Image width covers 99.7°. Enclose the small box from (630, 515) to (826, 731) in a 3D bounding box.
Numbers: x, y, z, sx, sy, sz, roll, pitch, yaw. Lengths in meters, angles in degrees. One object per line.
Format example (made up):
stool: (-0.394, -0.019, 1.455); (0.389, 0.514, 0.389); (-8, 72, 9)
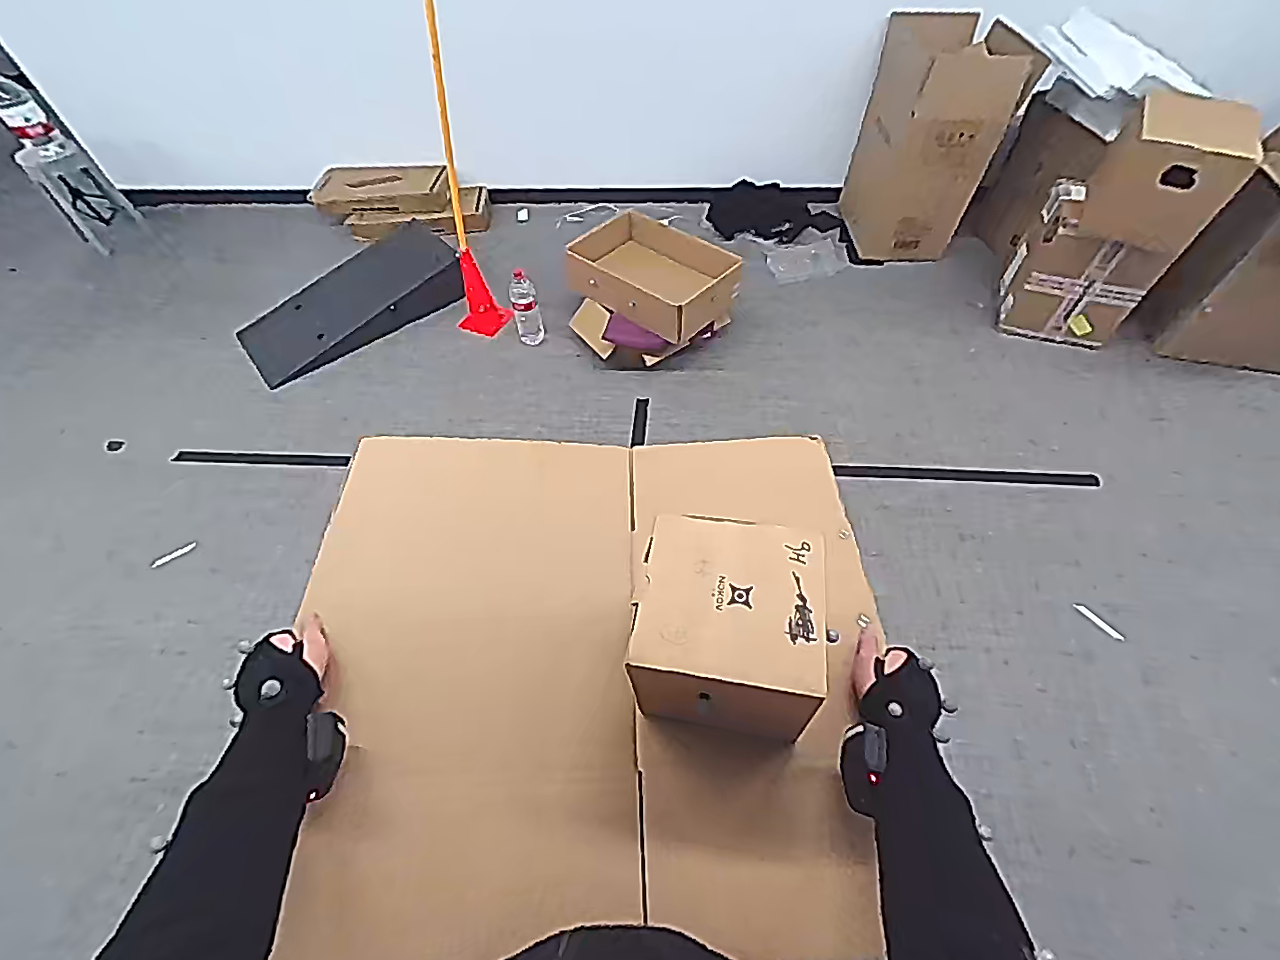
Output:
small box: (0.098, 0.157, 0.586); (0.179, 0.176, 0.168); (6, 54, 11)
